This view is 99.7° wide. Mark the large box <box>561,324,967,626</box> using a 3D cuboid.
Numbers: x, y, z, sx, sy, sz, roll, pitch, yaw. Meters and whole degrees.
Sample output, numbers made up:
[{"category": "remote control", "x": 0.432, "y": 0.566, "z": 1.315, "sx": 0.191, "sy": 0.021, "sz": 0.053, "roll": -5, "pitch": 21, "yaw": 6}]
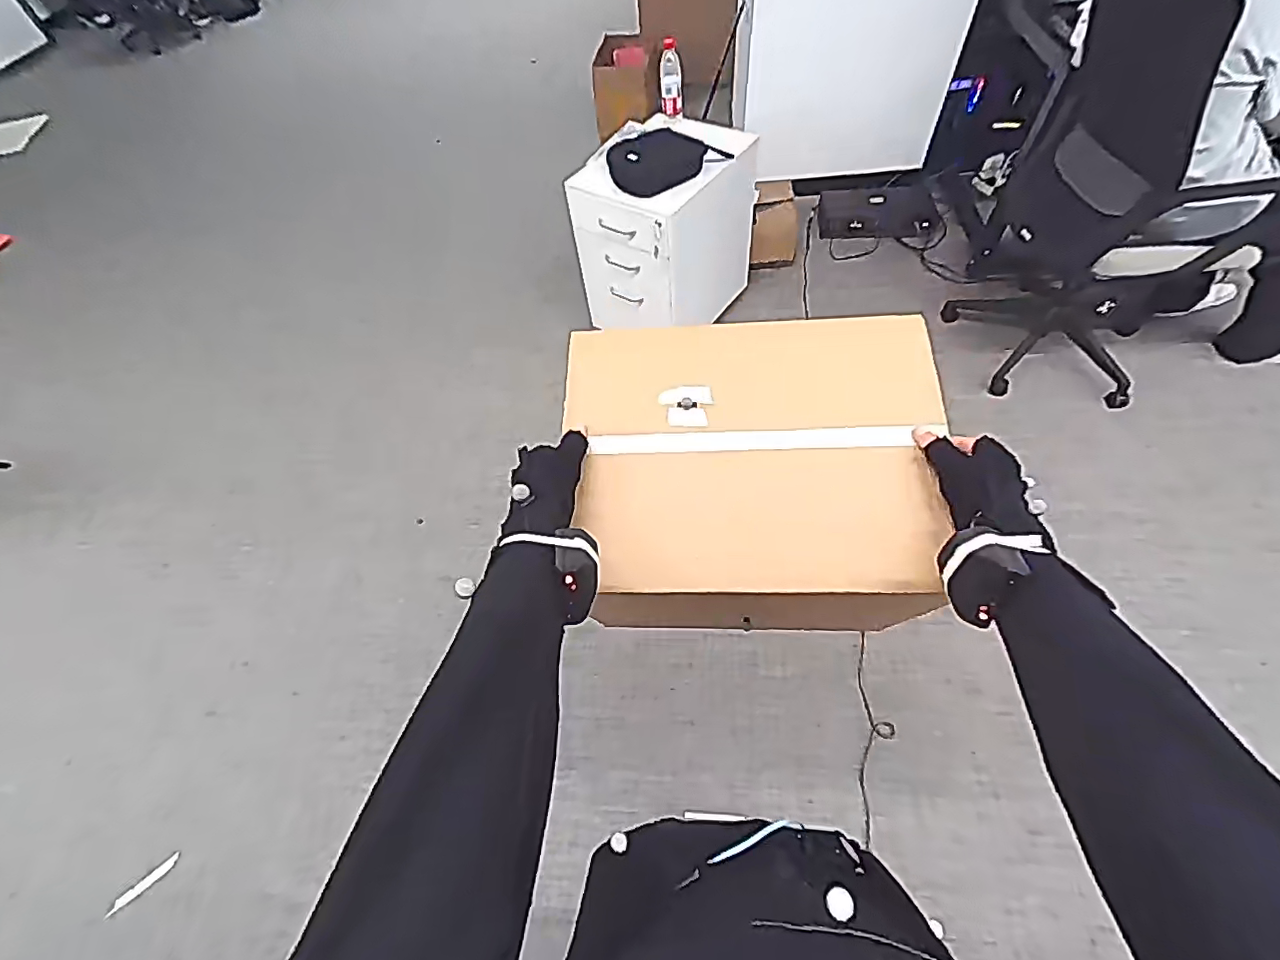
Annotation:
[{"category": "large box", "x": 0.136, "y": 0.024, "z": 0.724, "sx": 0.408, "sy": 0.320, "sz": 0.320, "roll": -1, "pitch": 67, "yaw": 7}]
